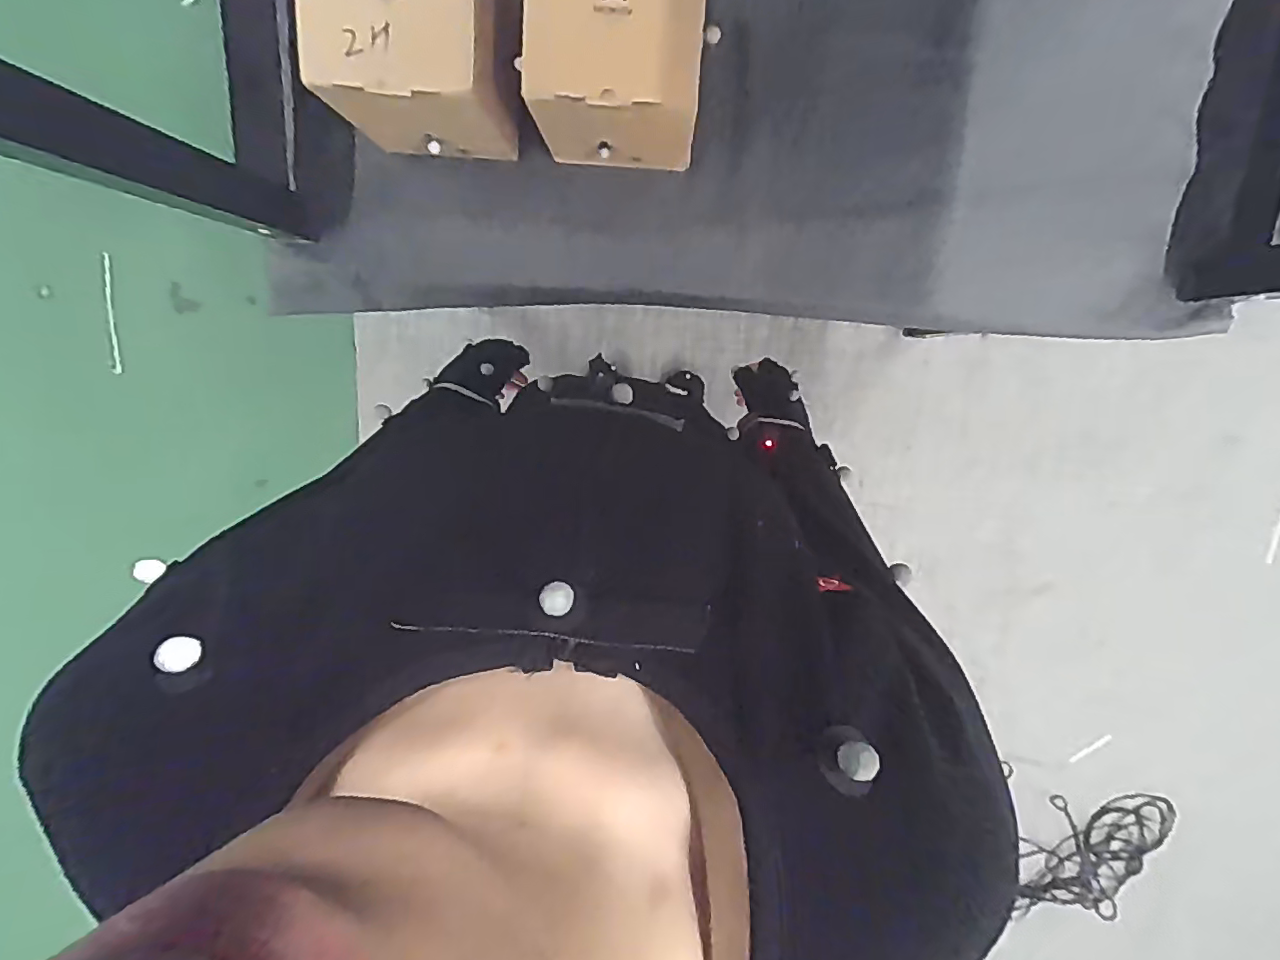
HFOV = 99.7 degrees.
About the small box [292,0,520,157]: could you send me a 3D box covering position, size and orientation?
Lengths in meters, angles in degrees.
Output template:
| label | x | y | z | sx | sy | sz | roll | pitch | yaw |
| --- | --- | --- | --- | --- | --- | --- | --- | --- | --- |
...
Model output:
| label | x | y | z | sx | sy | sz | roll | pitch | yaw |
| --- | --- | --- | --- | --- | --- | --- | --- | --- | --- |
| small box | -0.227 | -0.467 | 0.560 | 0.168 | 0.176 | 0.179 | 5 | 102 | 1 |
